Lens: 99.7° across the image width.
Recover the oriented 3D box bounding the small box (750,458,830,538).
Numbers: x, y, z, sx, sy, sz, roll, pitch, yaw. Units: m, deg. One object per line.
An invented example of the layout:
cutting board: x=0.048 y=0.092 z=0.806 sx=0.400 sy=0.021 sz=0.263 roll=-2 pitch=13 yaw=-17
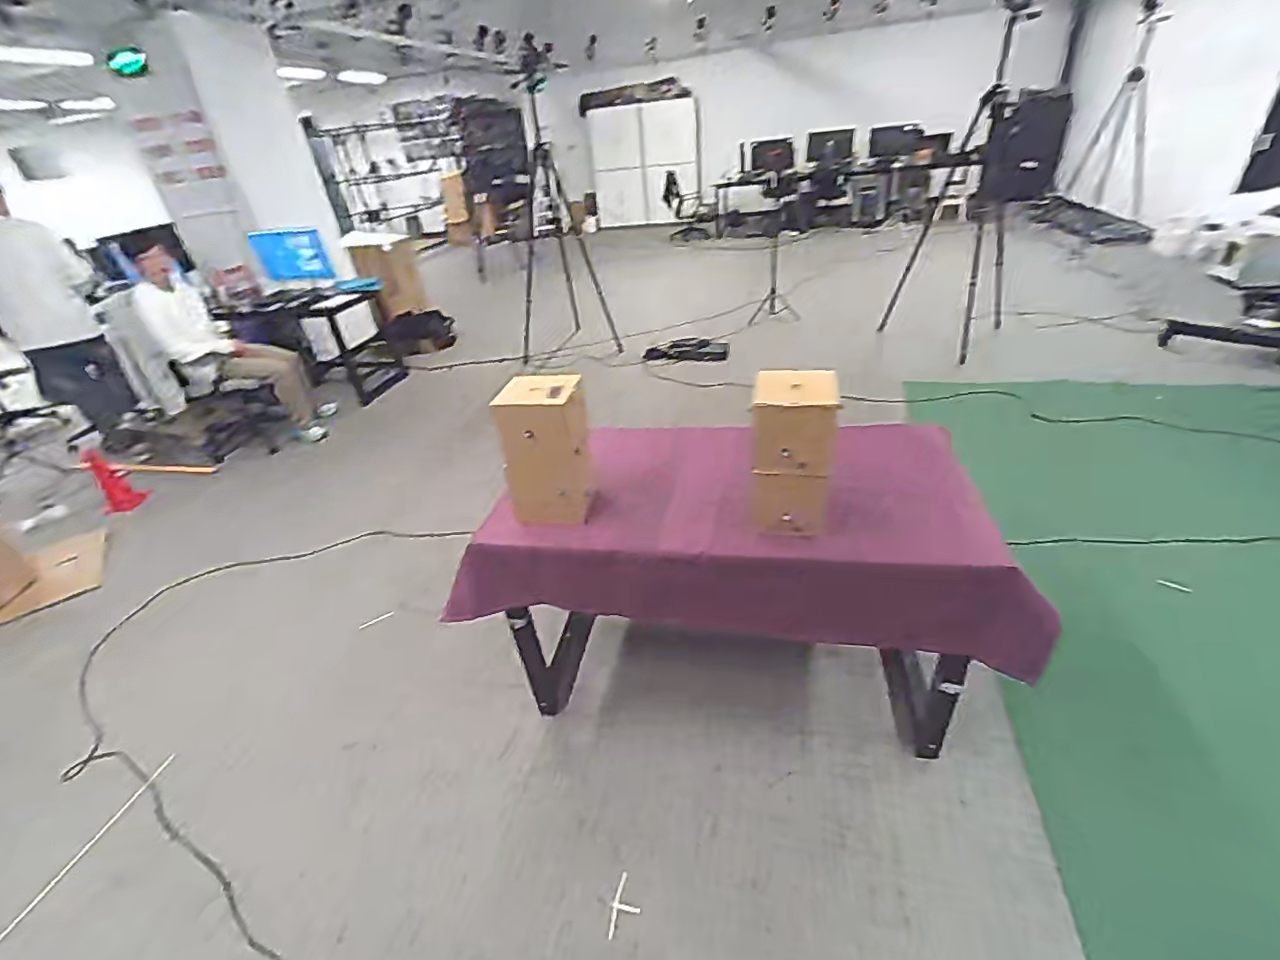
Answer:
small box: x=0.347 y=0.012 z=1.259 sx=0.168 sy=0.176 sz=0.179 roll=2 pitch=34 yaw=15

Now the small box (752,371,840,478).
small box: x=0.333 y=-0.124 z=1.170 sx=0.168 sy=0.176 sz=0.179 roll=3 pitch=35 yaw=15

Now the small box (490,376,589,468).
small box: x=-0.230 y=-0.138 z=1.294 sx=0.179 sy=0.176 sz=0.168 roll=0 pitch=33 yaw=10
